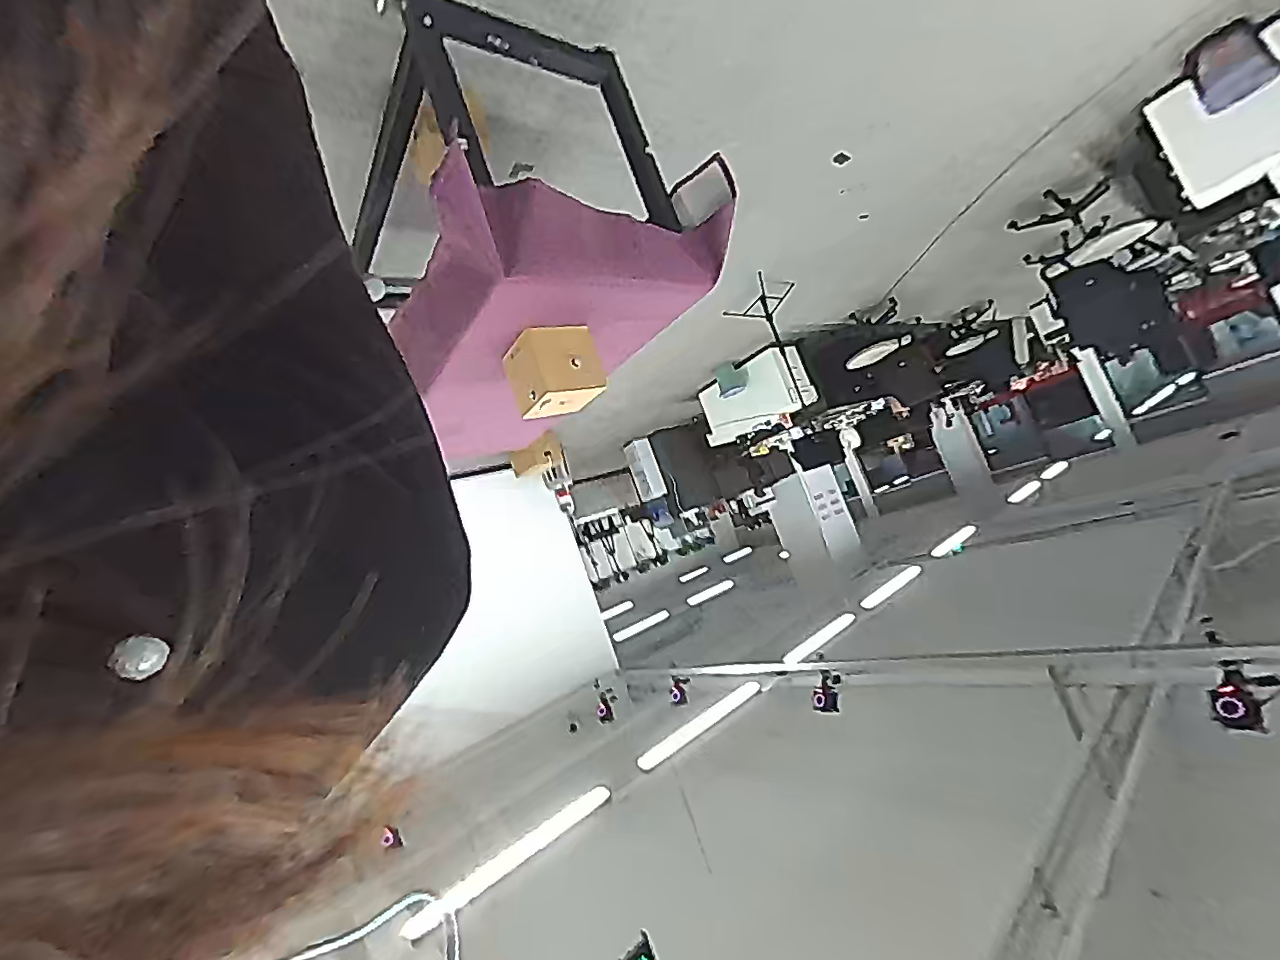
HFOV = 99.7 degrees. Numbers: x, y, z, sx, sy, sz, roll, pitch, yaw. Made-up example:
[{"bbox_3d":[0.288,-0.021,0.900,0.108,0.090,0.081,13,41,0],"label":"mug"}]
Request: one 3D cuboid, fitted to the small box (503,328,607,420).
[{"bbox_3d":[-0.217,-0.269,1.359,0.179,0.176,0.168,-16,172,-38],"label":"small box"}]
